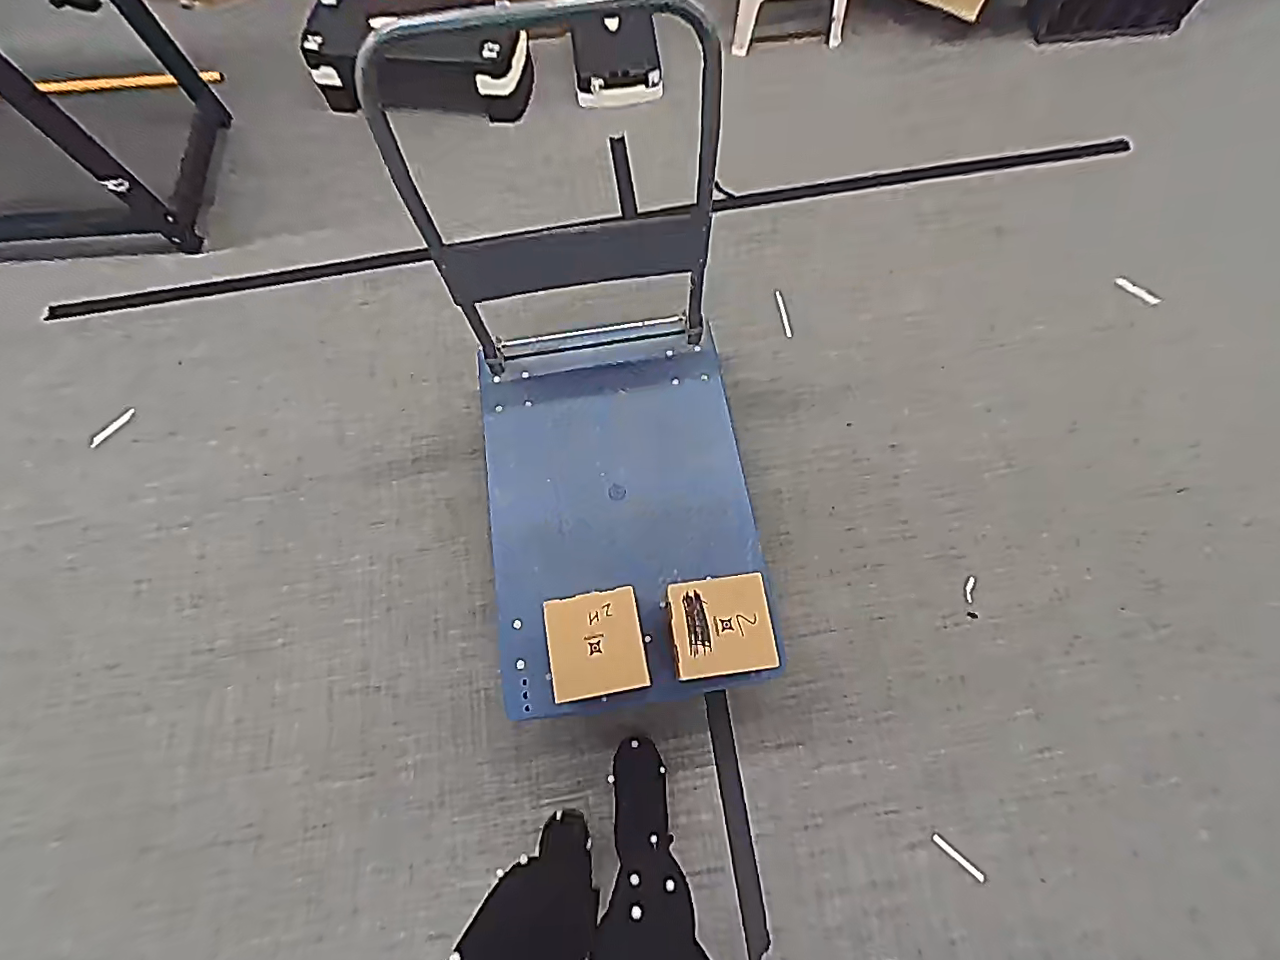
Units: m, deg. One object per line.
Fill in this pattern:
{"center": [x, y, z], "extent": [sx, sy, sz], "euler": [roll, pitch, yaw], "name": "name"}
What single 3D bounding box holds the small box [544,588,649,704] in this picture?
{"center": [-0.077, 0.312, 1.022], "extent": [0.168, 0.176, 0.179], "euler": [-10, 71, -2], "name": "small box"}
